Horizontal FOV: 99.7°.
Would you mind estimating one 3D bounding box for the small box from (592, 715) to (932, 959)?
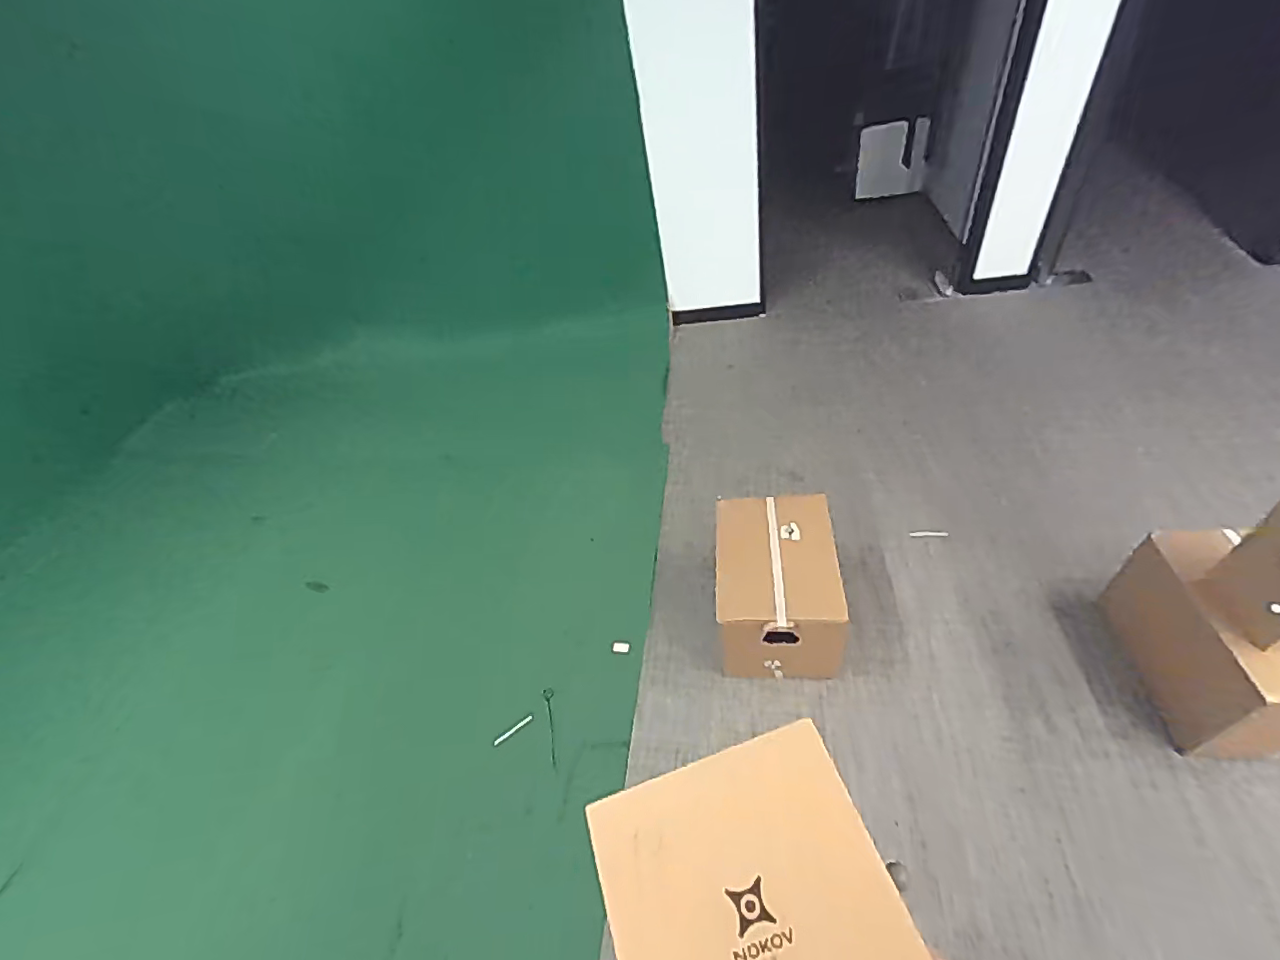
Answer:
[{"bbox_3d":[0.081,0.299,0.377,0.168,0.176,0.179,-21,50,-2],"label":"small box"}]

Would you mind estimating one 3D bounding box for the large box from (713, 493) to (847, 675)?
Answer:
[{"bbox_3d":[0.382,0.295,1.531,0.320,0.320,0.408,-4,45,12],"label":"large box"}]
